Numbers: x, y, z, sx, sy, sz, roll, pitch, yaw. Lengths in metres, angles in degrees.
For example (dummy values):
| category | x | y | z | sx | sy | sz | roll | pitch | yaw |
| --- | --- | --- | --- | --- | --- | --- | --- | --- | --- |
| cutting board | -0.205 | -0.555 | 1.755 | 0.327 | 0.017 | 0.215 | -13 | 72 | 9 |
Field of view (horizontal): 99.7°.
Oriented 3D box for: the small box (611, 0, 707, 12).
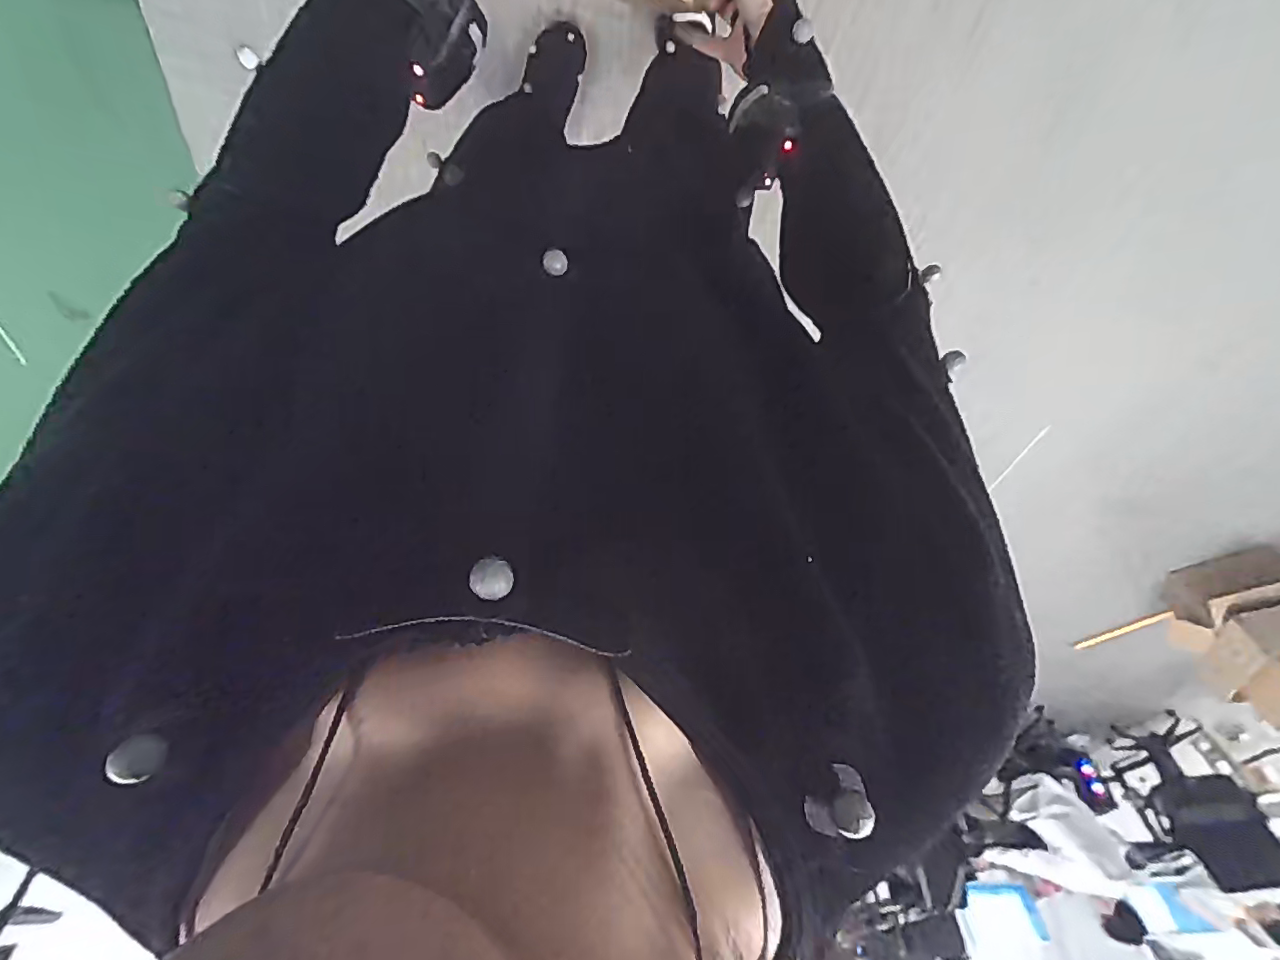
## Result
| category | x | y | z | sx | sy | sz | roll | pitch | yaw |
| --- | --- | --- | --- | --- | --- | --- | --- | --- | --- |
| small box | -0.008 | -0.538 | 0.450 | 0.168 | 0.176 | 0.179 | 8 | 122 | -30 |
